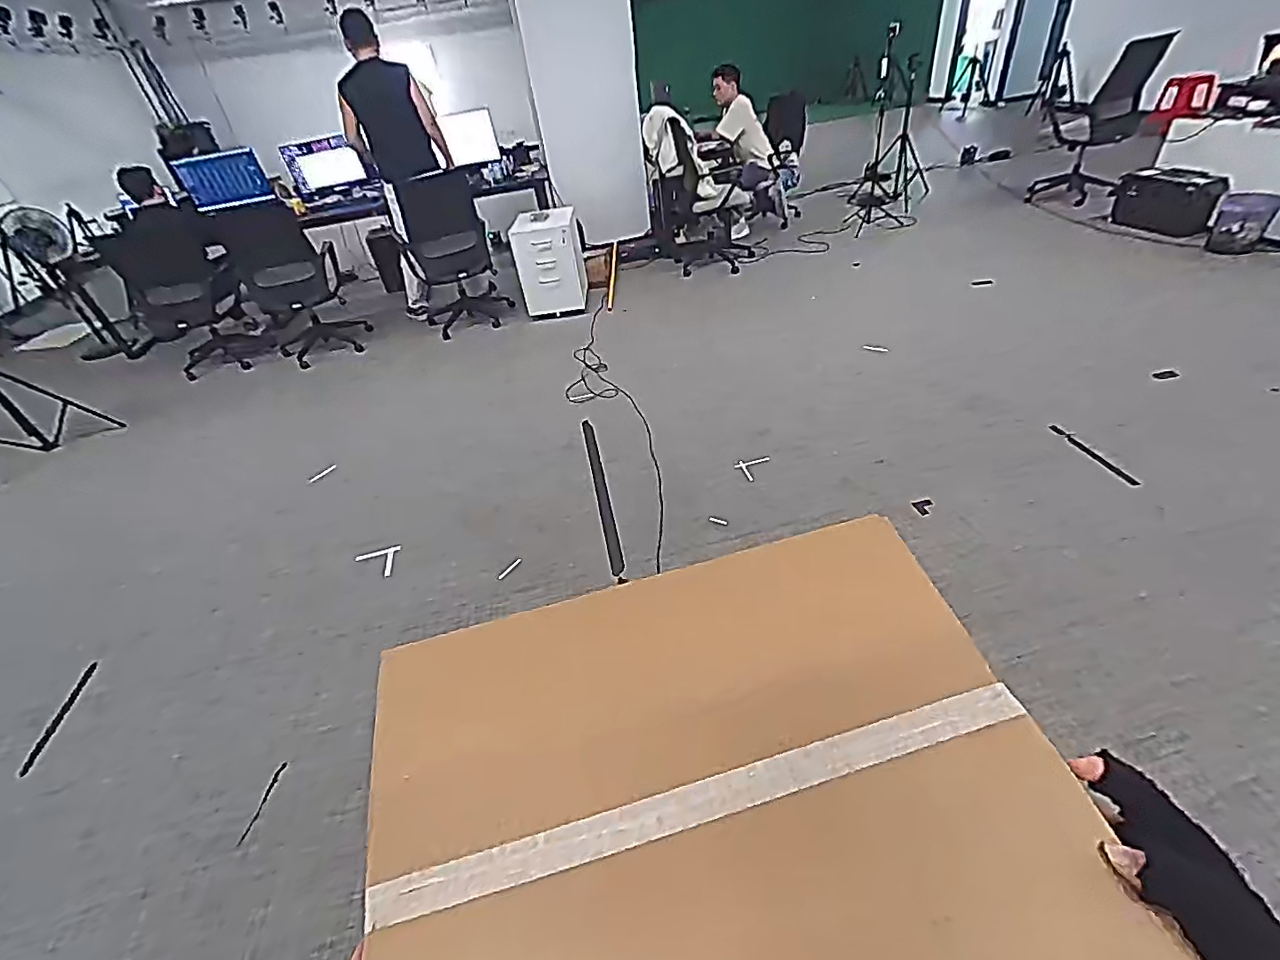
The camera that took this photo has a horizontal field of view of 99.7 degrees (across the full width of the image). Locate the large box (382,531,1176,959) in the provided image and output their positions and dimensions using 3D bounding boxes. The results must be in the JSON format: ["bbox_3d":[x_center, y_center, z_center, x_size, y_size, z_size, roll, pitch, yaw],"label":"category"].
[{"bbox_3d":[0.061,0.298,0.440,0.408,0.320,0.320,-15,49,-5],"label":"large box"}]
